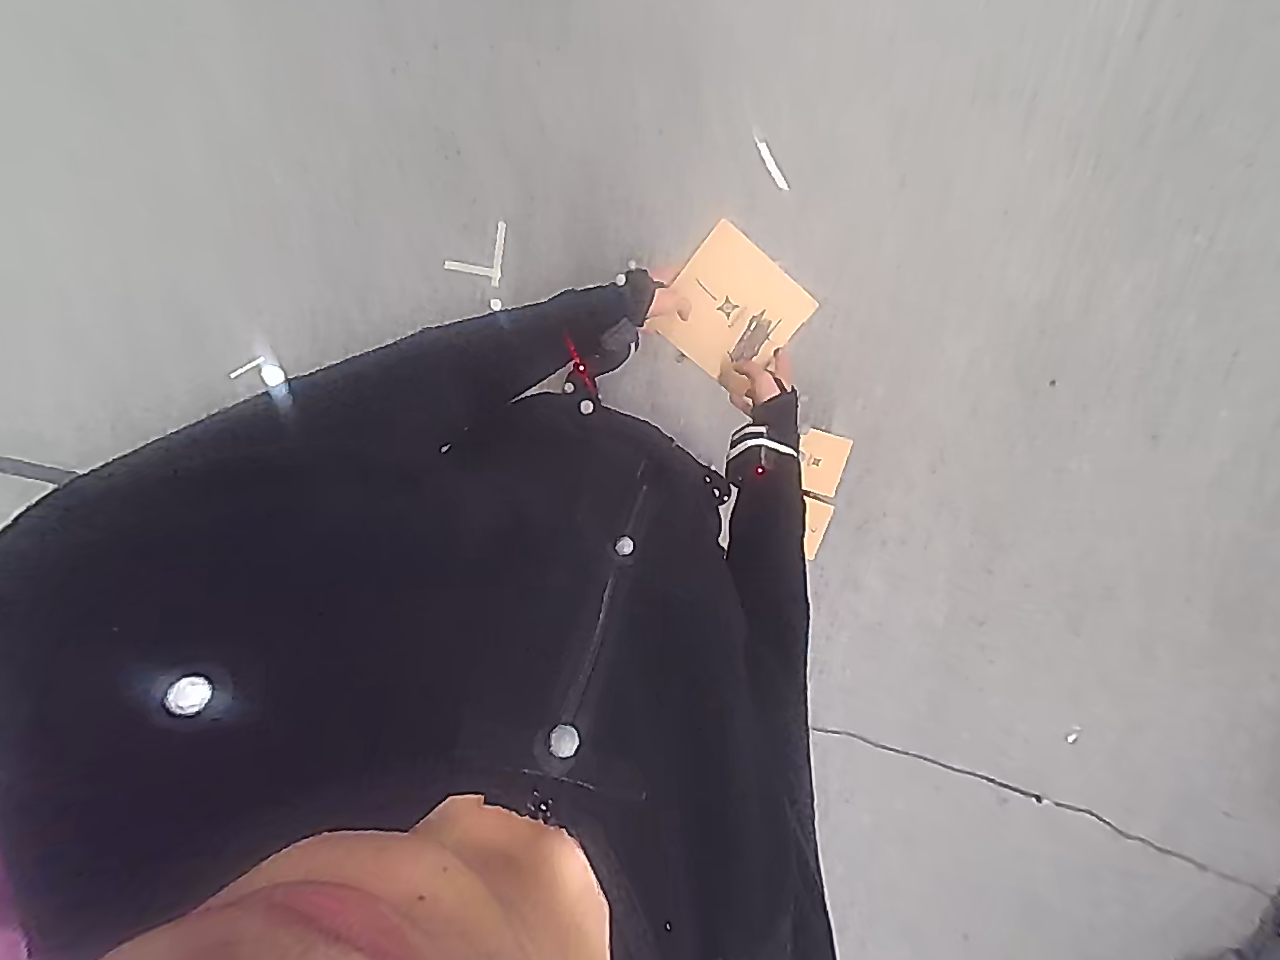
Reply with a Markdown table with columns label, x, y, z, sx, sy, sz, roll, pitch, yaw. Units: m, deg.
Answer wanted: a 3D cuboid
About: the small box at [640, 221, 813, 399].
| label | x | y | z | sx | sy | sz | roll | pitch | yaw |
| --- | --- | --- | --- | --- | --- | --- | --- | --- | --- |
| small box | 0.117 | -0.247 | 0.799 | 0.179 | 0.176 | 0.168 | 37 | 103 | -11 |
